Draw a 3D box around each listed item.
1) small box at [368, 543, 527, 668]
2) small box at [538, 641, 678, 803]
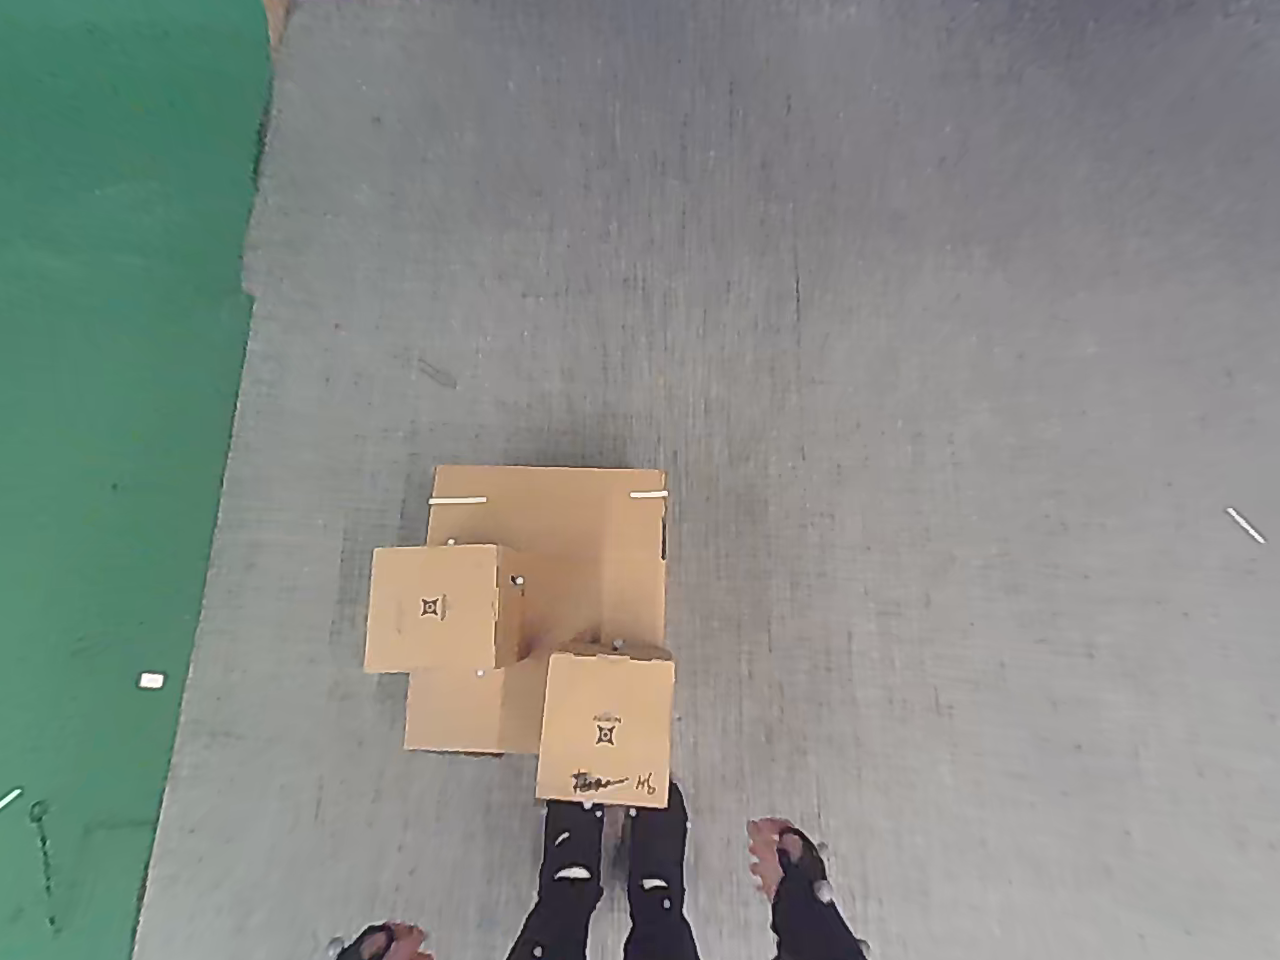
[{"bbox_3d":[-0.270,0.184,0.803,0.179,0.176,0.168,-2,76,2],"label":"small box"},{"bbox_3d":[-0.039,0.326,0.764,0.168,0.176,0.179,4,77,2],"label":"small box"}]
